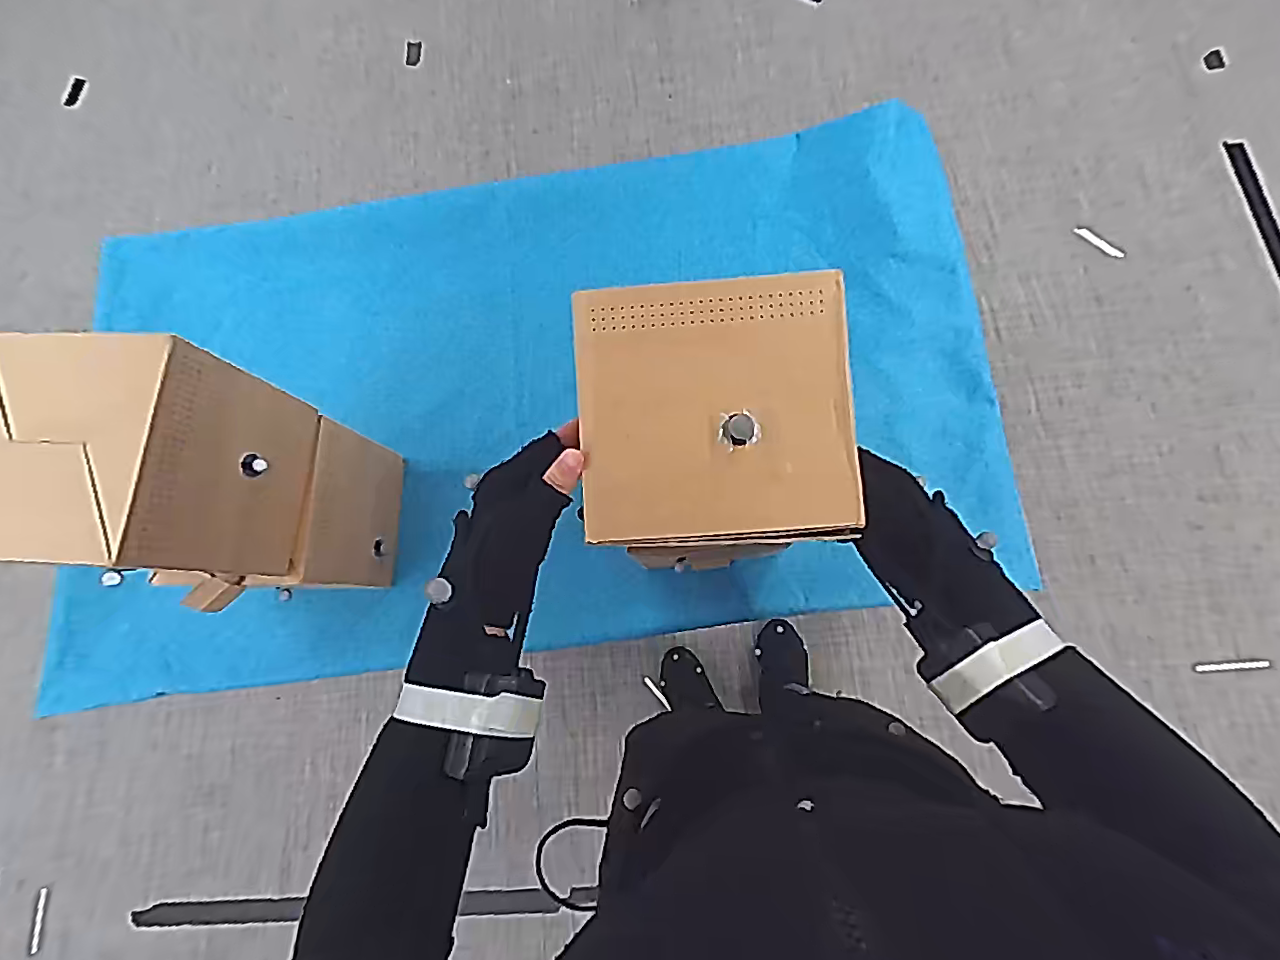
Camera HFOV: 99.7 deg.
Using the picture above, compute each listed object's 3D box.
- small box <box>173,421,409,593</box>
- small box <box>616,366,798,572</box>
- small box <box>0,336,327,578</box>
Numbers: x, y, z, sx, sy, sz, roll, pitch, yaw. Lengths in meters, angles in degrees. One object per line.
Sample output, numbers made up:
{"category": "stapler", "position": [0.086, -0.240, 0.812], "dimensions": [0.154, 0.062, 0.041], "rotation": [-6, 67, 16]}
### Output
{"category": "small box", "position": [-0.397, 0.040, 0.636], "dimensions": [0.168, 0.176, 0.179], "rotation": [-2, 77, 5]}
{"category": "small box", "position": [0.070, -0.002, 0.599], "dimensions": [0.168, 0.176, 0.179], "rotation": [-7, 75, 4]}
{"category": "small box", "position": [-0.421, -0.008, 0.479], "dimensions": [0.168, 0.176, 0.179], "rotation": [2, 79, 6]}
